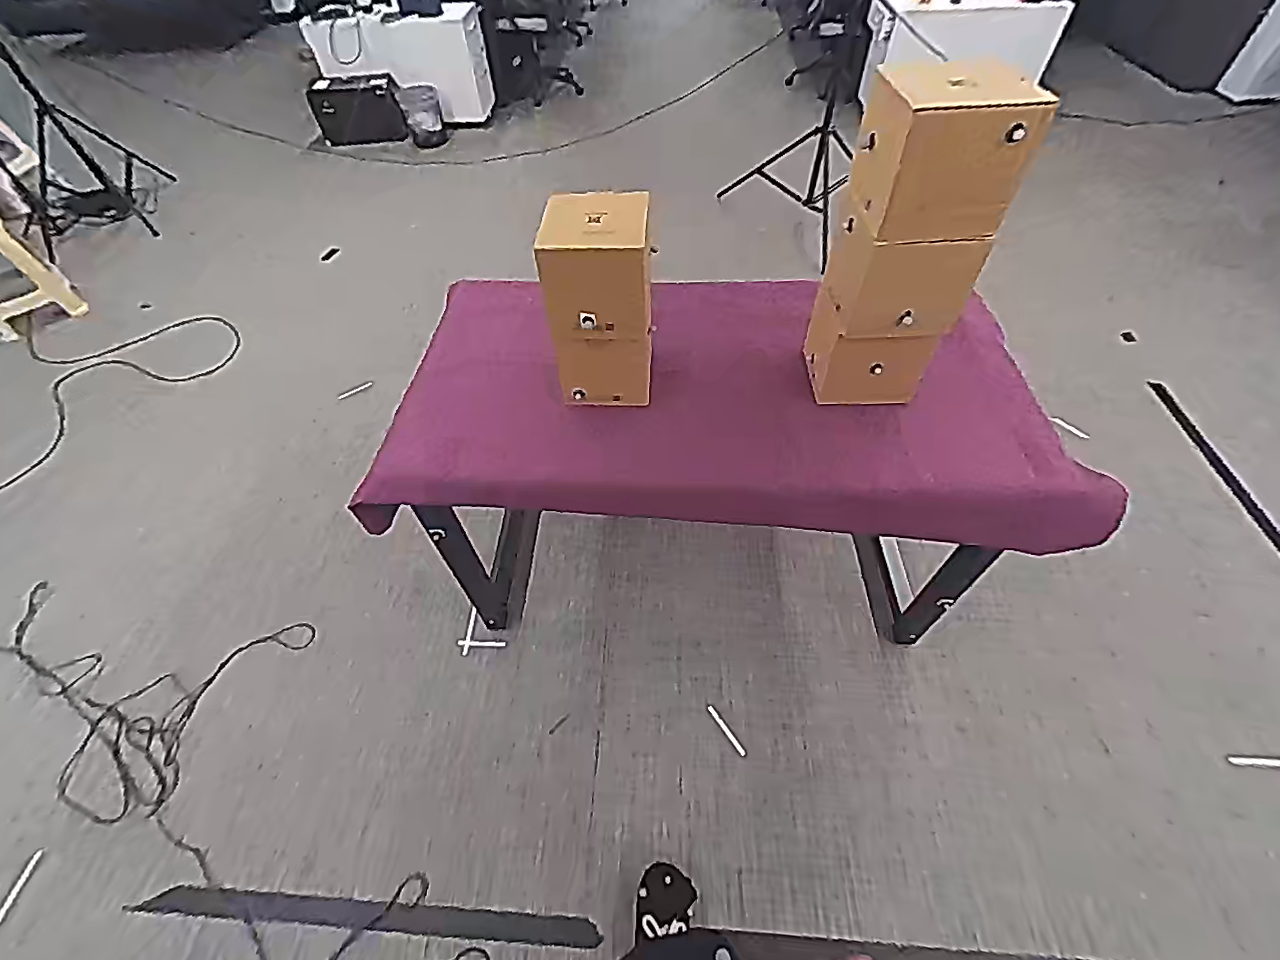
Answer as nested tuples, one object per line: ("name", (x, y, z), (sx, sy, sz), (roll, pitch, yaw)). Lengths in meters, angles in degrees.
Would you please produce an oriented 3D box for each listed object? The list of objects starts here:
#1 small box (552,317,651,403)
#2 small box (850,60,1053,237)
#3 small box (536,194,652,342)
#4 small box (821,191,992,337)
("small box", (-0.064, -0.262, 1.037), (0.168, 0.176, 0.179), (1, 51, 3))
("small box", (0.410, -0.458, 0.757), (0.179, 0.176, 0.168), (-3, 52, 1))
("small box", (-0.067, -0.353, 0.902), (0.168, 0.176, 0.179), (0, 53, 3))
("small box", (0.416, -0.351, 0.881), (0.179, 0.176, 0.168), (-3, 51, 0))
